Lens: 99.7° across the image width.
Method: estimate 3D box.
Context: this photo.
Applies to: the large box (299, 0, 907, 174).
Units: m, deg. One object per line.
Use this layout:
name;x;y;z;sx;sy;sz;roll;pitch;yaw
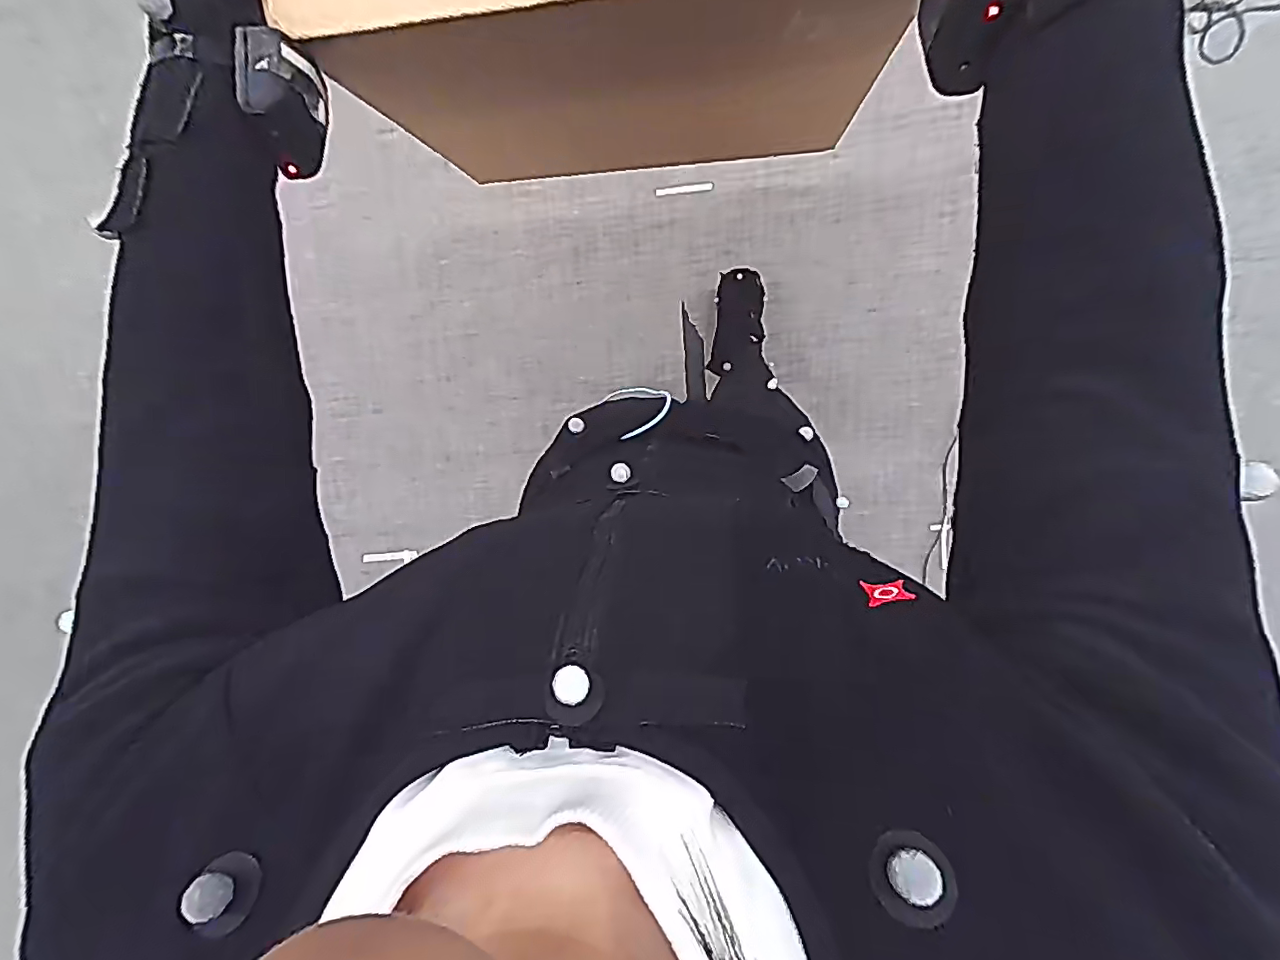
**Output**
large box;-0.015;-0.478;0.431;0.408;0.320;0.320;-2;104;7
